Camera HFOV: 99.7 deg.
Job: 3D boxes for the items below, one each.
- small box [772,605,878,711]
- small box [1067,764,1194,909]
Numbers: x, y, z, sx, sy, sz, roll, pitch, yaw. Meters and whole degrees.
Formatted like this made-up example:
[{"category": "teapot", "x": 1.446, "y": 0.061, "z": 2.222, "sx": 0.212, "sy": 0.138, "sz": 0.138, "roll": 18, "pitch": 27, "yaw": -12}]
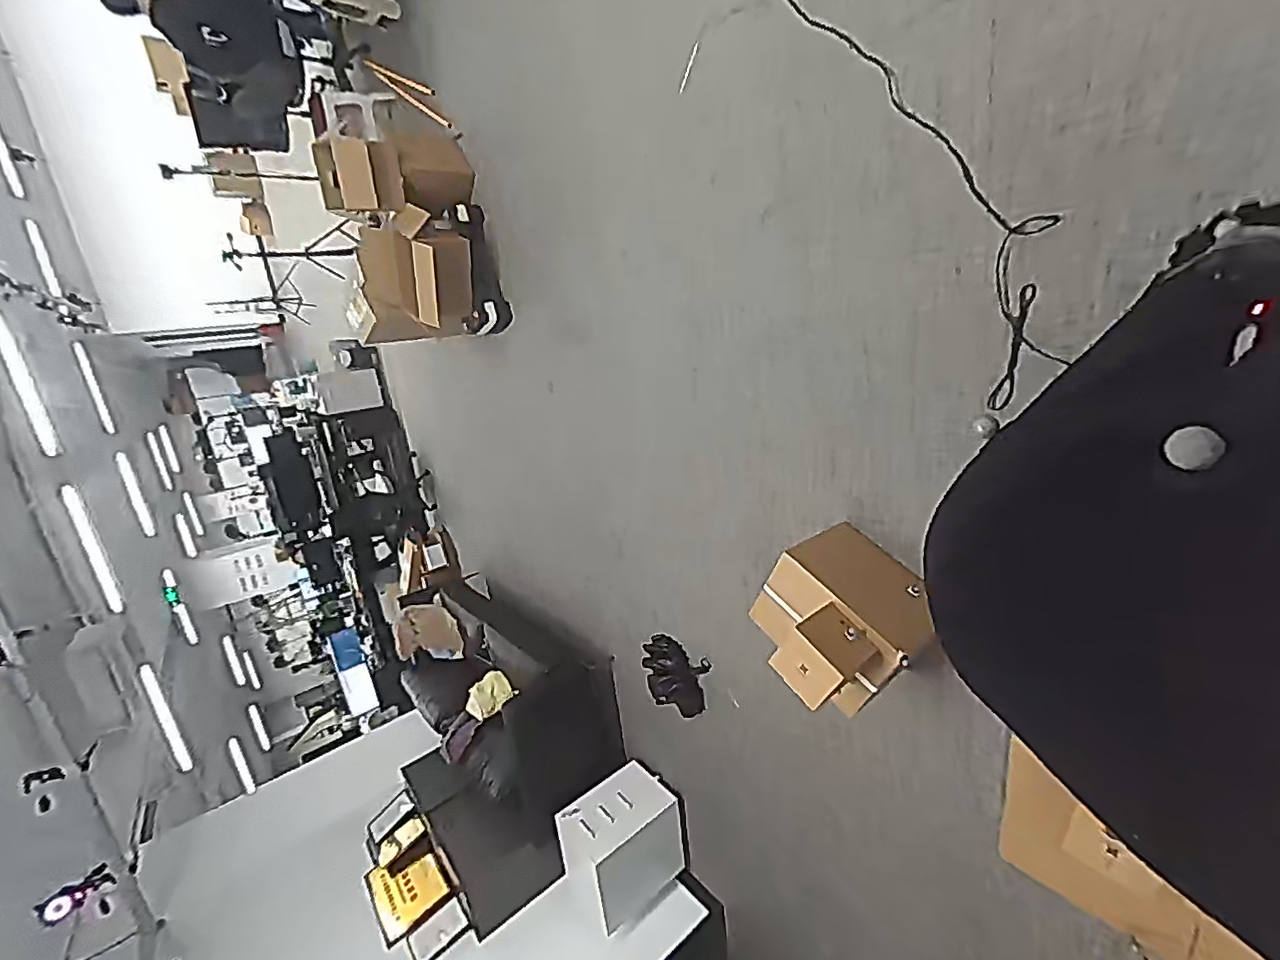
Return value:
[{"category": "small box", "x": 0.488, "y": 0.462, "z": 1.421, "sx": 0.168, "sy": 0.176, "sz": 0.179, "roll": 46, "pitch": 135, "yaw": 31}, {"category": "small box", "x": 1.108, "y": 0.792, "z": 1.221, "sx": 0.168, "sy": 0.176, "sz": 0.179, "roll": 22, "pitch": 123, "yaw": 48}]
